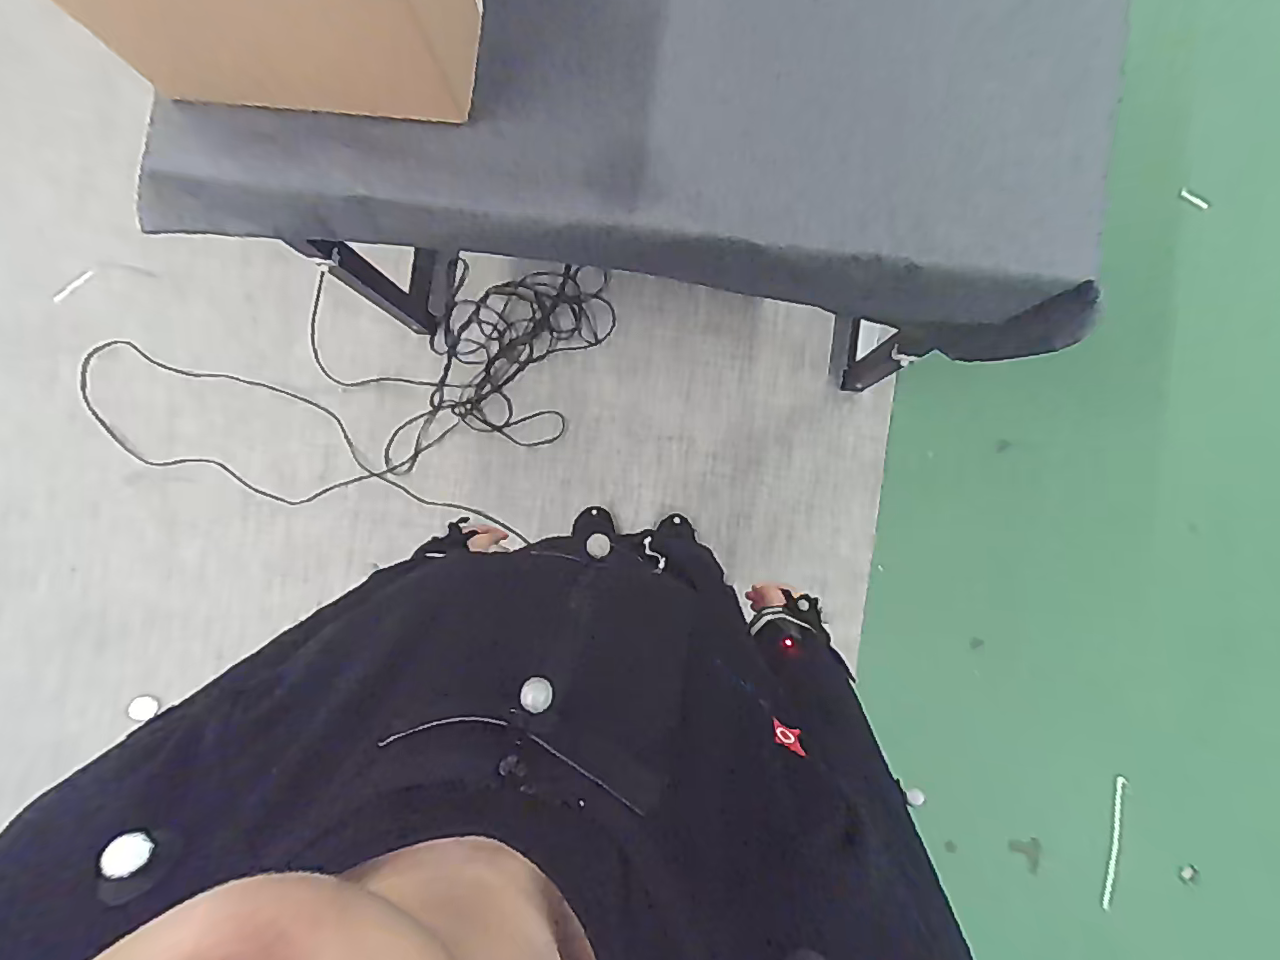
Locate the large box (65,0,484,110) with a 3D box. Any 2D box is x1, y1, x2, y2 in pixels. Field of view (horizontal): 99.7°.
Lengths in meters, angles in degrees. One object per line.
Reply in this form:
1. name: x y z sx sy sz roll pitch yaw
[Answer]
1. large box: -0.398 -0.638 0.549 0.408 0.320 0.320 5 88 1
